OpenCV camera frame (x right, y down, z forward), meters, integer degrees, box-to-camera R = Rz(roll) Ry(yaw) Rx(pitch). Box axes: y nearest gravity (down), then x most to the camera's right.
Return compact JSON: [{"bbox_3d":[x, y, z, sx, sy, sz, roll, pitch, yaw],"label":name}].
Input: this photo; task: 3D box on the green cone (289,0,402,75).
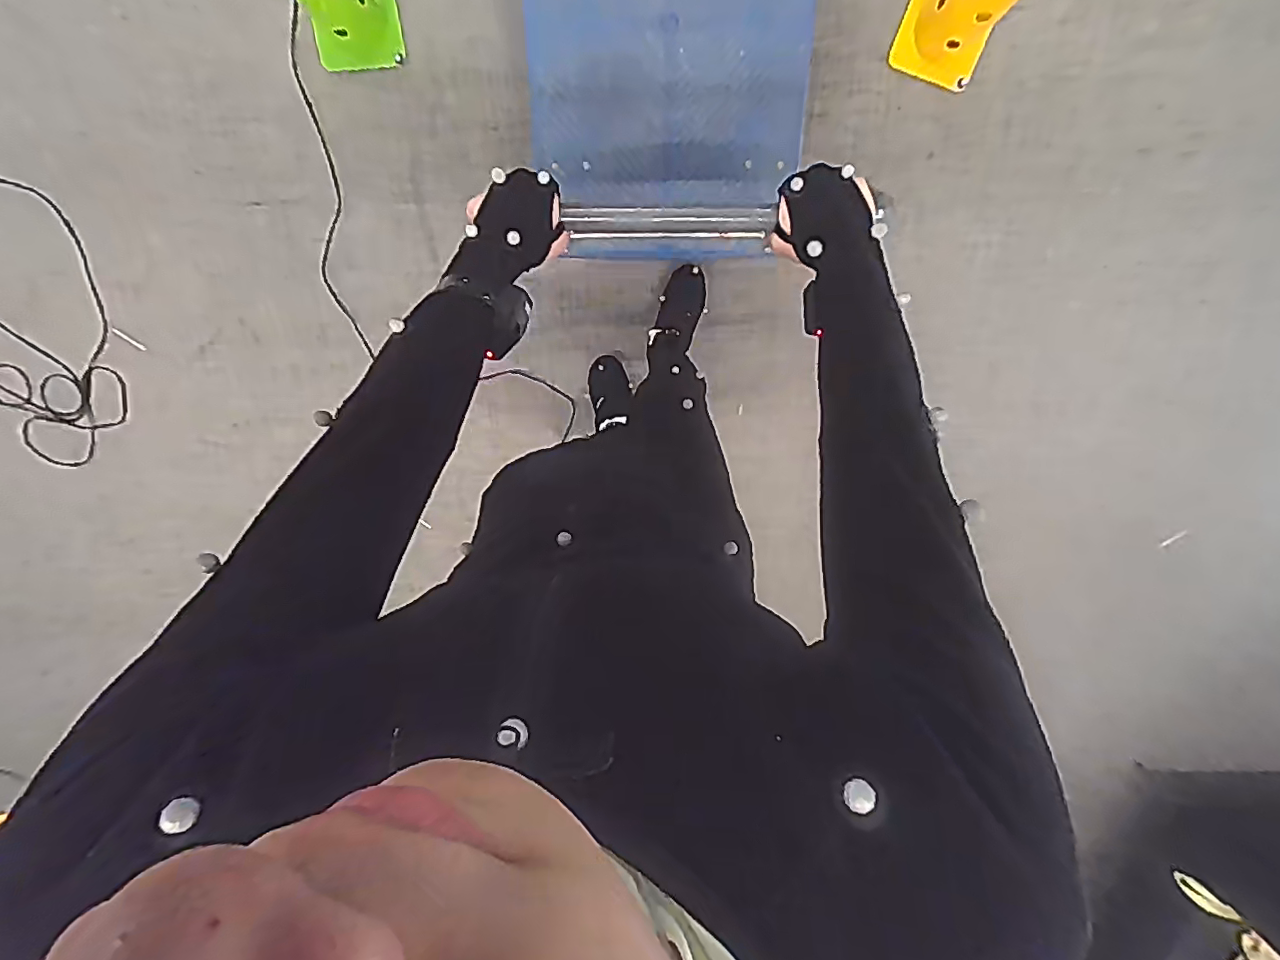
[{"bbox_3d":[-0.656,-0.974,1.056,0.202,0.368,0.200,-3,112,4],"label":"green cone"}]
